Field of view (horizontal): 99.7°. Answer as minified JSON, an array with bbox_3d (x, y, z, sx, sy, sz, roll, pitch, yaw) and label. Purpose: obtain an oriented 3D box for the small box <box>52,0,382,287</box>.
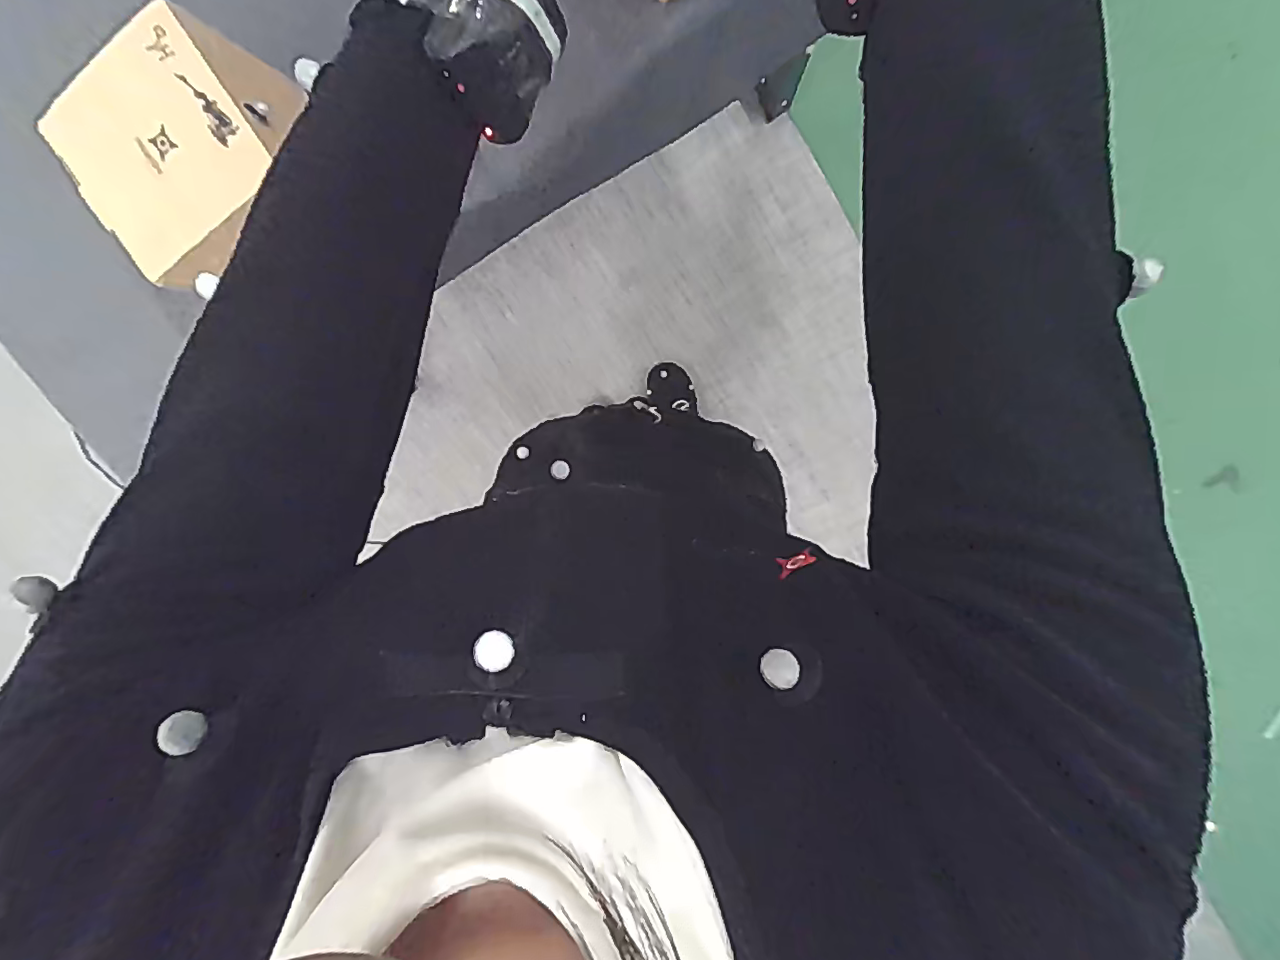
[{"bbox_3d":[-0.417,-0.323,0.564,0.179,0.176,0.168,-30,98,13],"label":"small box"}]
